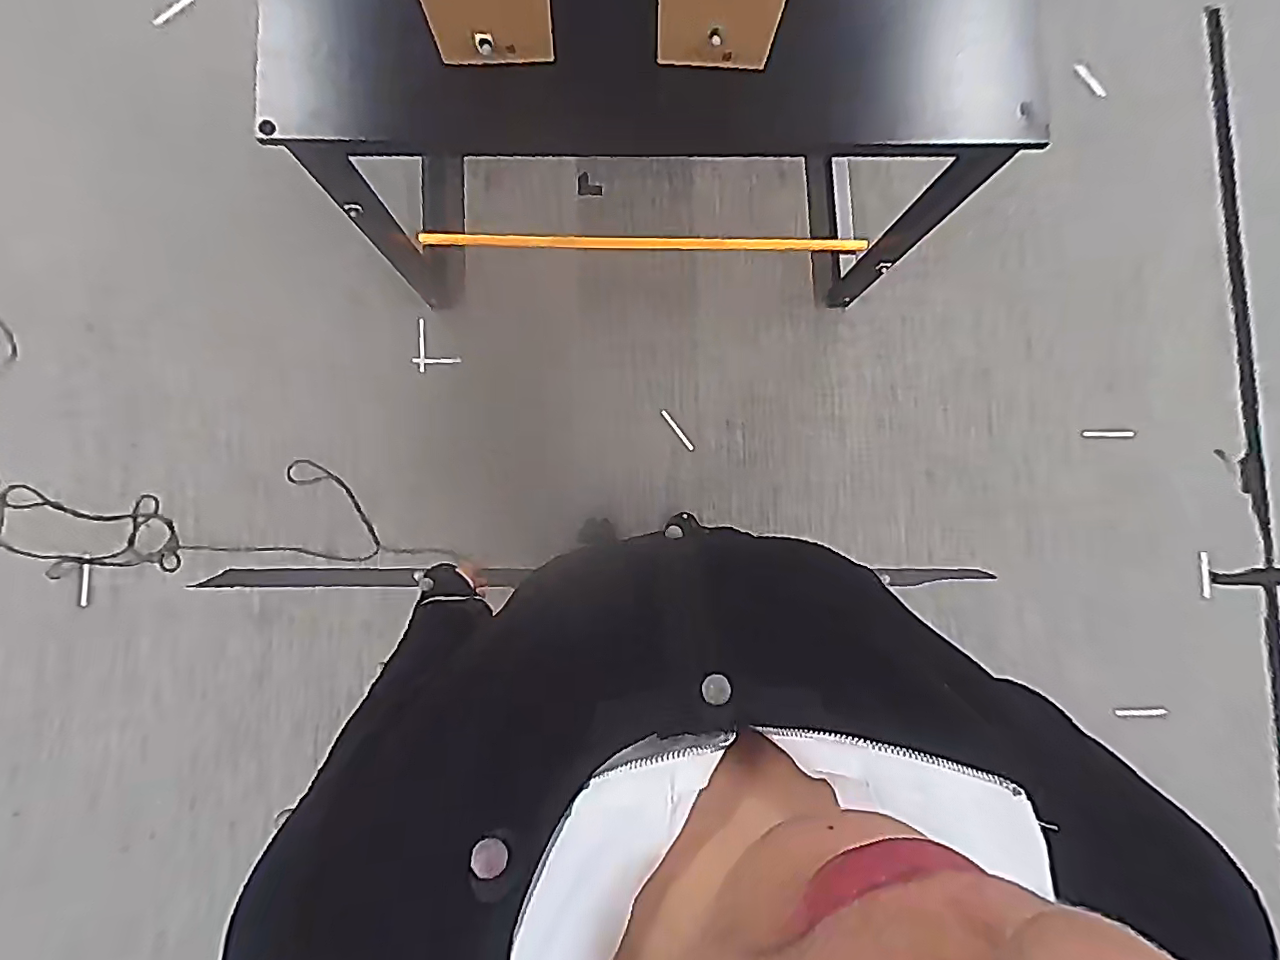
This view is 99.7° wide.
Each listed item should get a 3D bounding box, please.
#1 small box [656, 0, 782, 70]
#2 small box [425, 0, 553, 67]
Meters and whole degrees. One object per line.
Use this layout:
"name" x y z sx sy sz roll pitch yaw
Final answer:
"small box" 0.111 -0.727 0.754 0.168 0.176 0.179 2 86 -2
"small box" -0.215 -0.717 0.741 0.168 0.176 0.179 -5 88 -2
